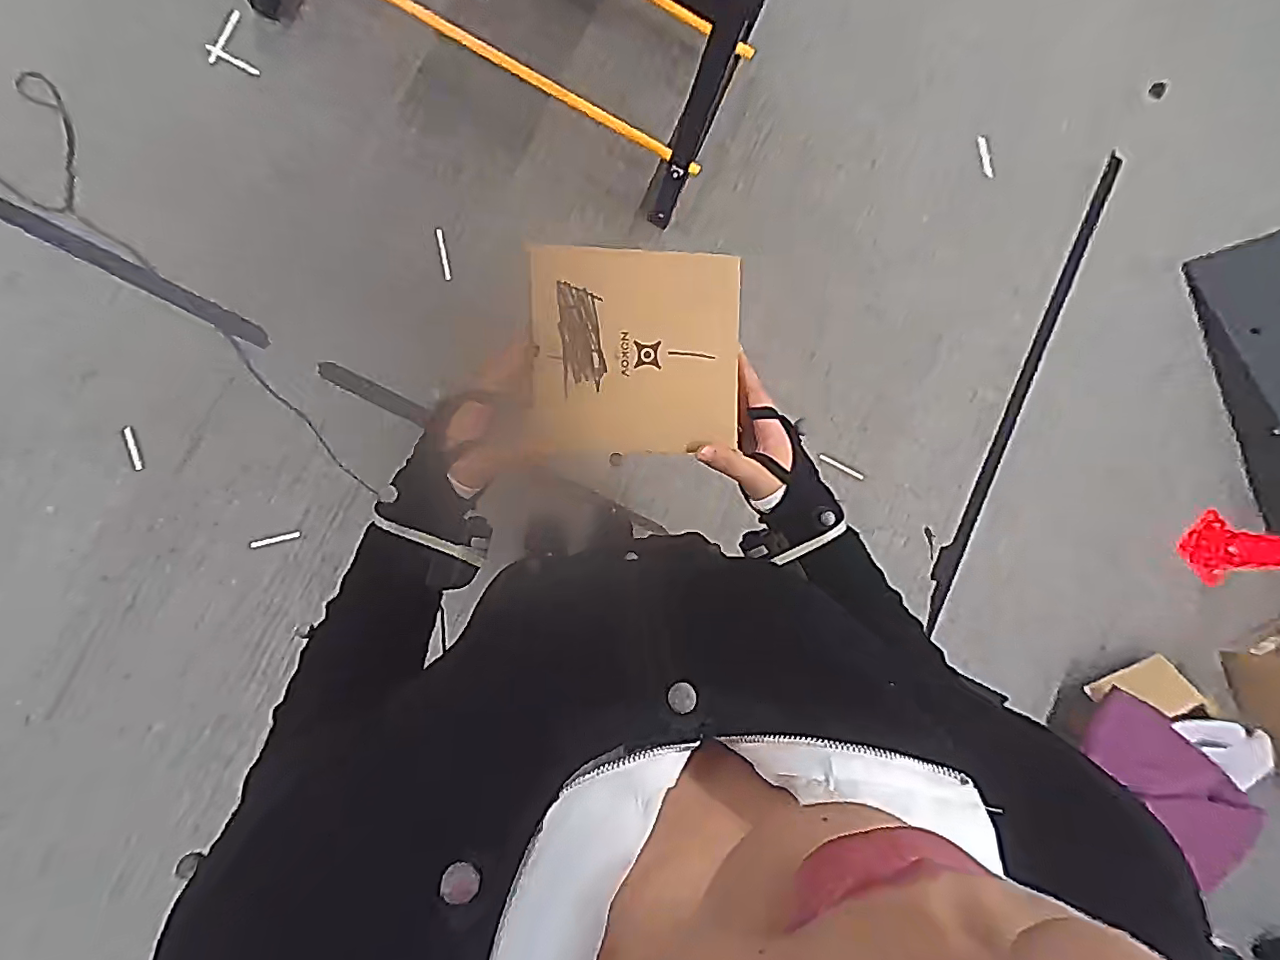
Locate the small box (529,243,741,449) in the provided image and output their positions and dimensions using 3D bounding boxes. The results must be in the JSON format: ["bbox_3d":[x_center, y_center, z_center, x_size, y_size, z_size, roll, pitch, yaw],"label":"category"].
[{"bbox_3d":[-0.014,-0.113,0.522,0.179,0.176,0.168,-1,96,-10],"label":"small box"}]
